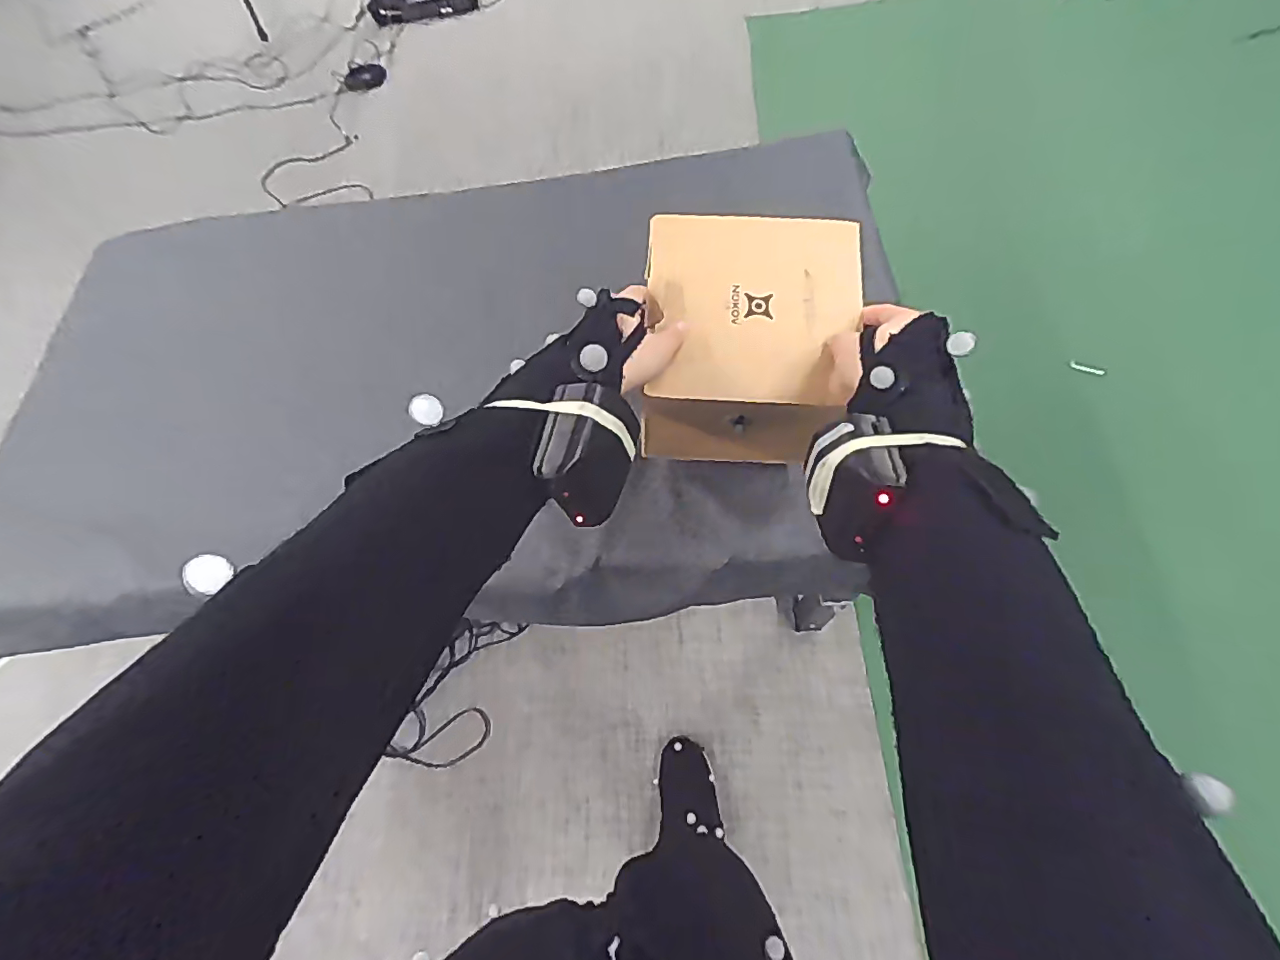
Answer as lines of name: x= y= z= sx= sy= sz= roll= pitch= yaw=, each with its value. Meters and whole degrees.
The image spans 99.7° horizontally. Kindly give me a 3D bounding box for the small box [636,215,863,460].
small box: x=0.089 y=-0.120 z=0.510 sx=0.179 sy=0.176 sz=0.168 roll=3 pitch=77 yaw=1
